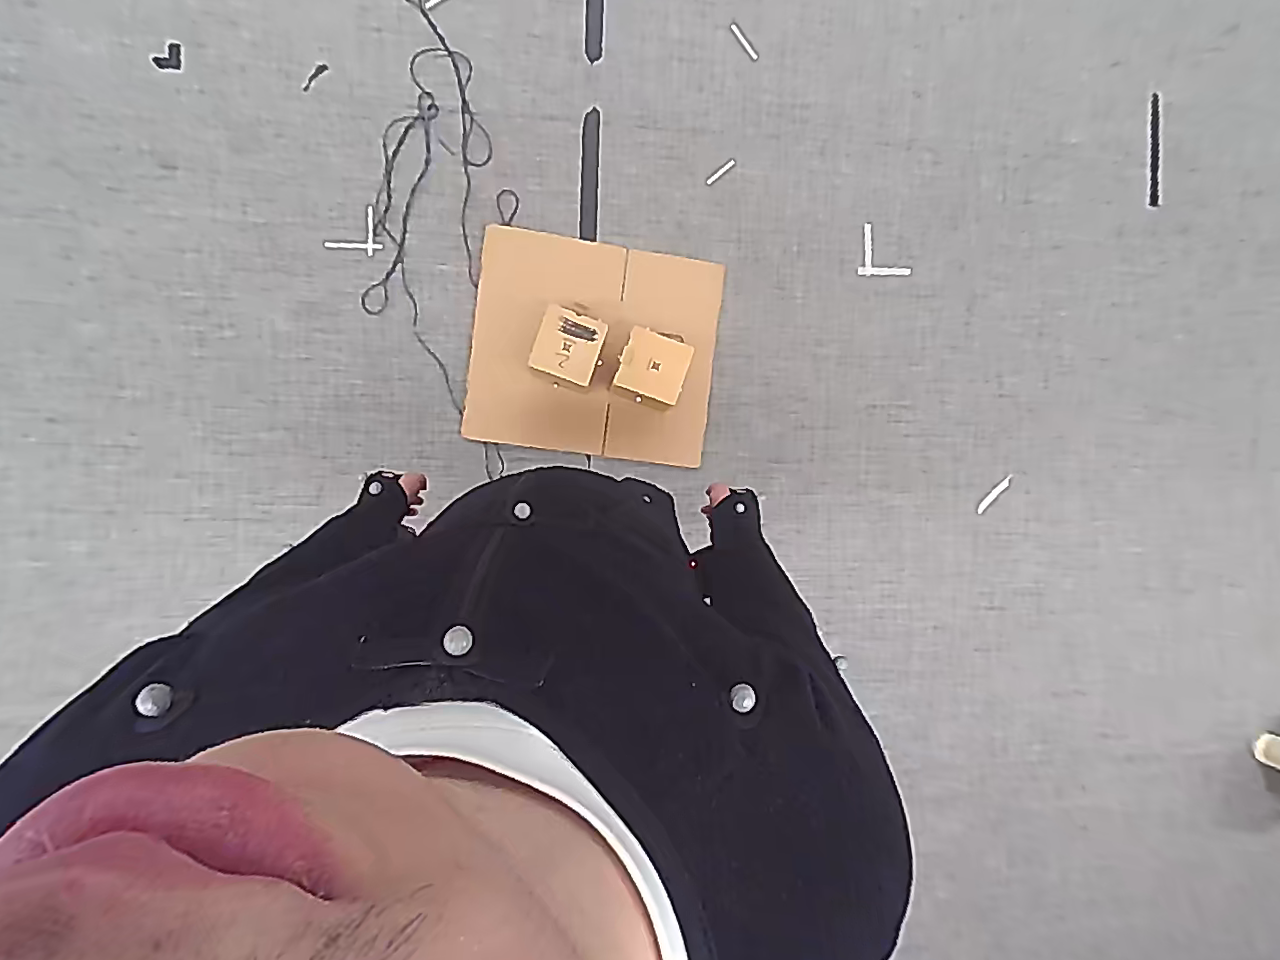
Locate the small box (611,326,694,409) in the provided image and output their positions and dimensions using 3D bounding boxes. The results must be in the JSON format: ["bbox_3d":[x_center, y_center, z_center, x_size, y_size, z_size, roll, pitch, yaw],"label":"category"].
[{"bbox_3d":[0.029,-0.307,1.516,0.179,0.176,0.168,20,89,-6],"label":"small box"}]
